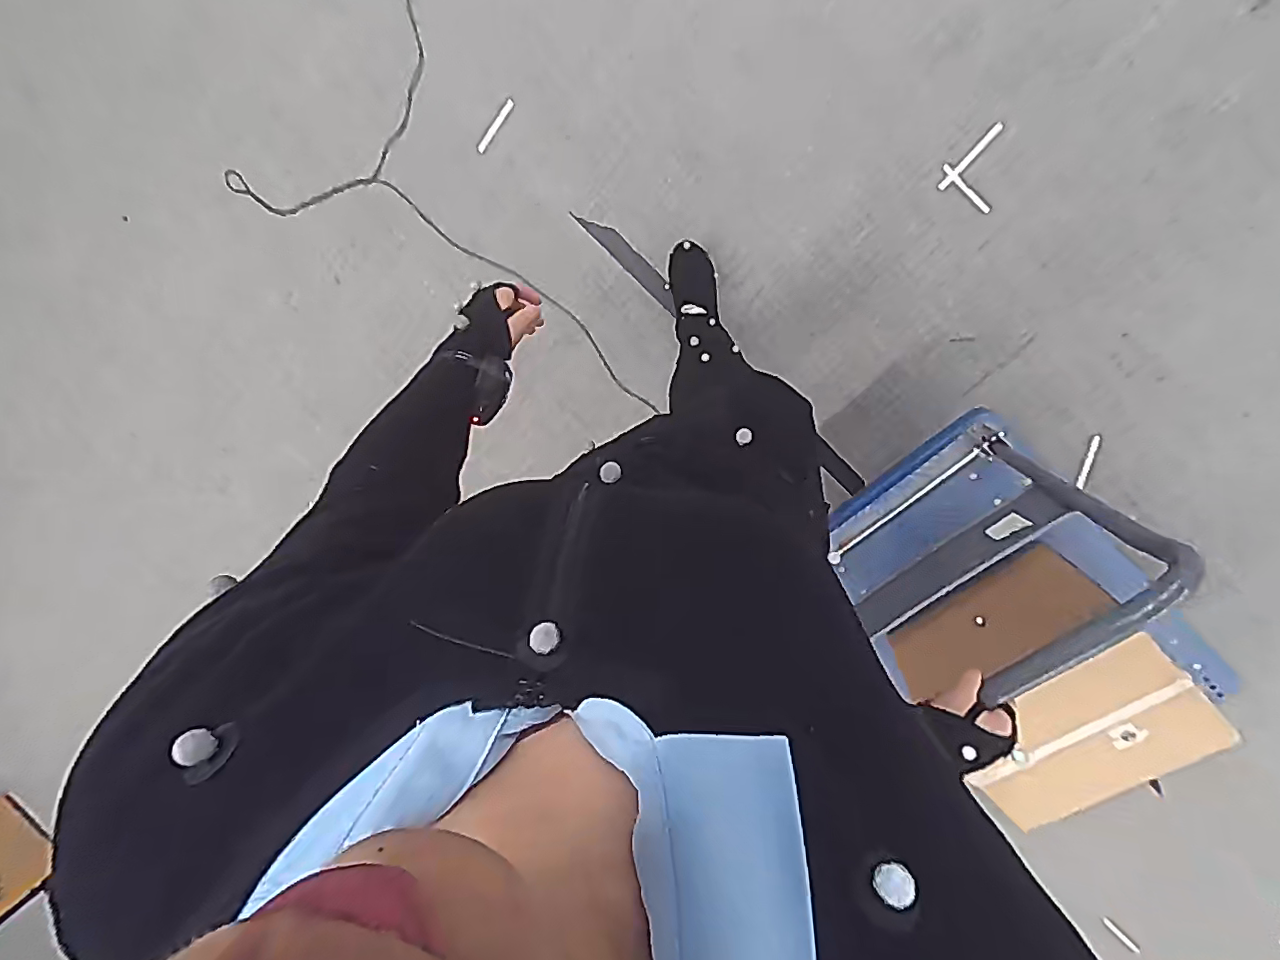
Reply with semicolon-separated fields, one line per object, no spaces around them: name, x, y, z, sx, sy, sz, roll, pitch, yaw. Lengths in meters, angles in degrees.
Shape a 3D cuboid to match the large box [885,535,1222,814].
large box;0.811;0.391;1.141;0.320;0.320;0.408;45;110;-5
